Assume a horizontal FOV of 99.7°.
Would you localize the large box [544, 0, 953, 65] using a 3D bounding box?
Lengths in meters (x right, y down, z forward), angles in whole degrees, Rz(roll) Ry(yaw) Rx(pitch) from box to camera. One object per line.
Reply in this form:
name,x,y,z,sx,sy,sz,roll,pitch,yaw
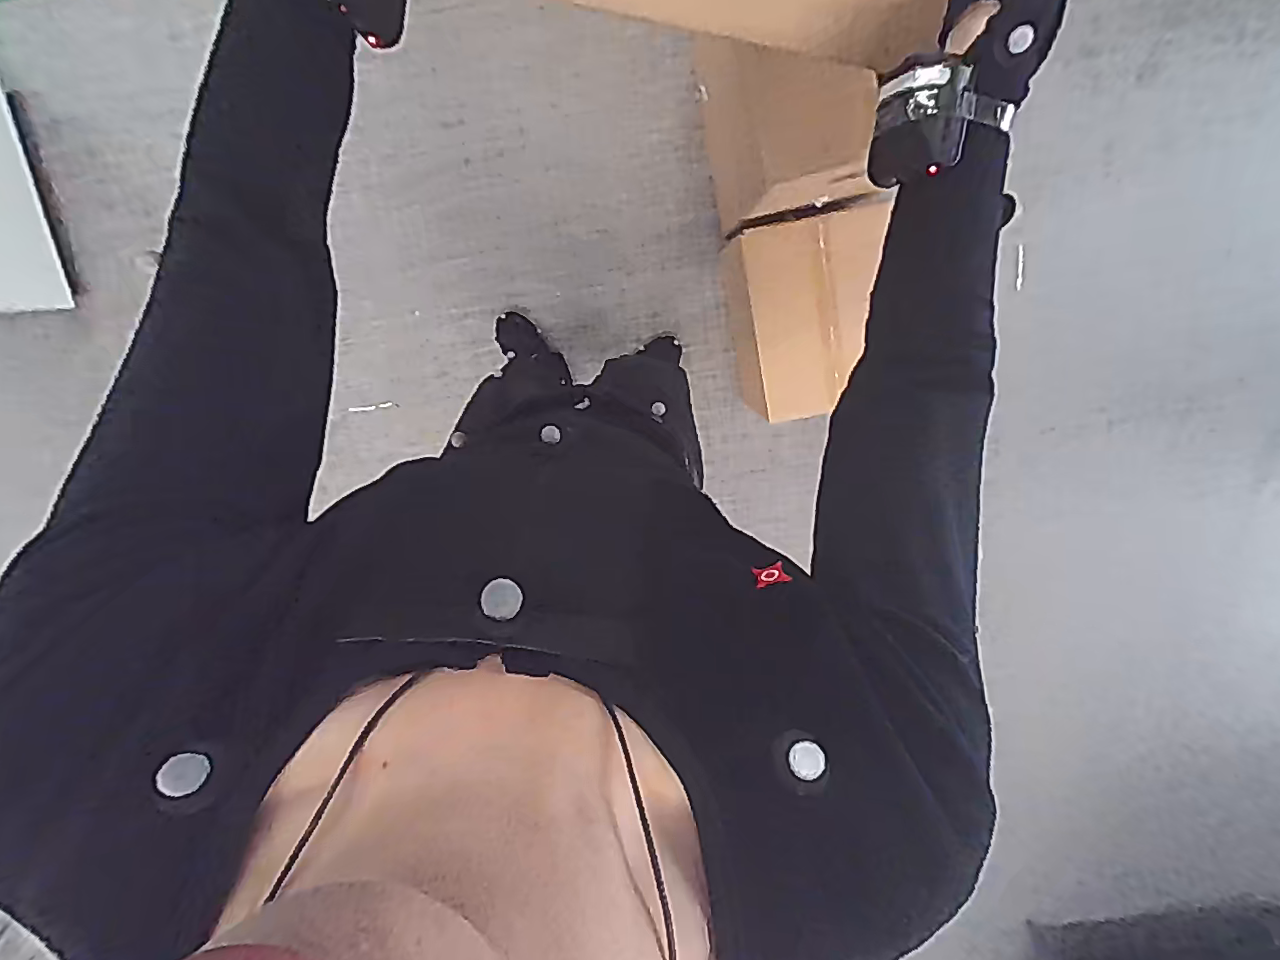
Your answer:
large box,0.072,-0.566,0.396,0.408,0.320,0.320,13,141,2
